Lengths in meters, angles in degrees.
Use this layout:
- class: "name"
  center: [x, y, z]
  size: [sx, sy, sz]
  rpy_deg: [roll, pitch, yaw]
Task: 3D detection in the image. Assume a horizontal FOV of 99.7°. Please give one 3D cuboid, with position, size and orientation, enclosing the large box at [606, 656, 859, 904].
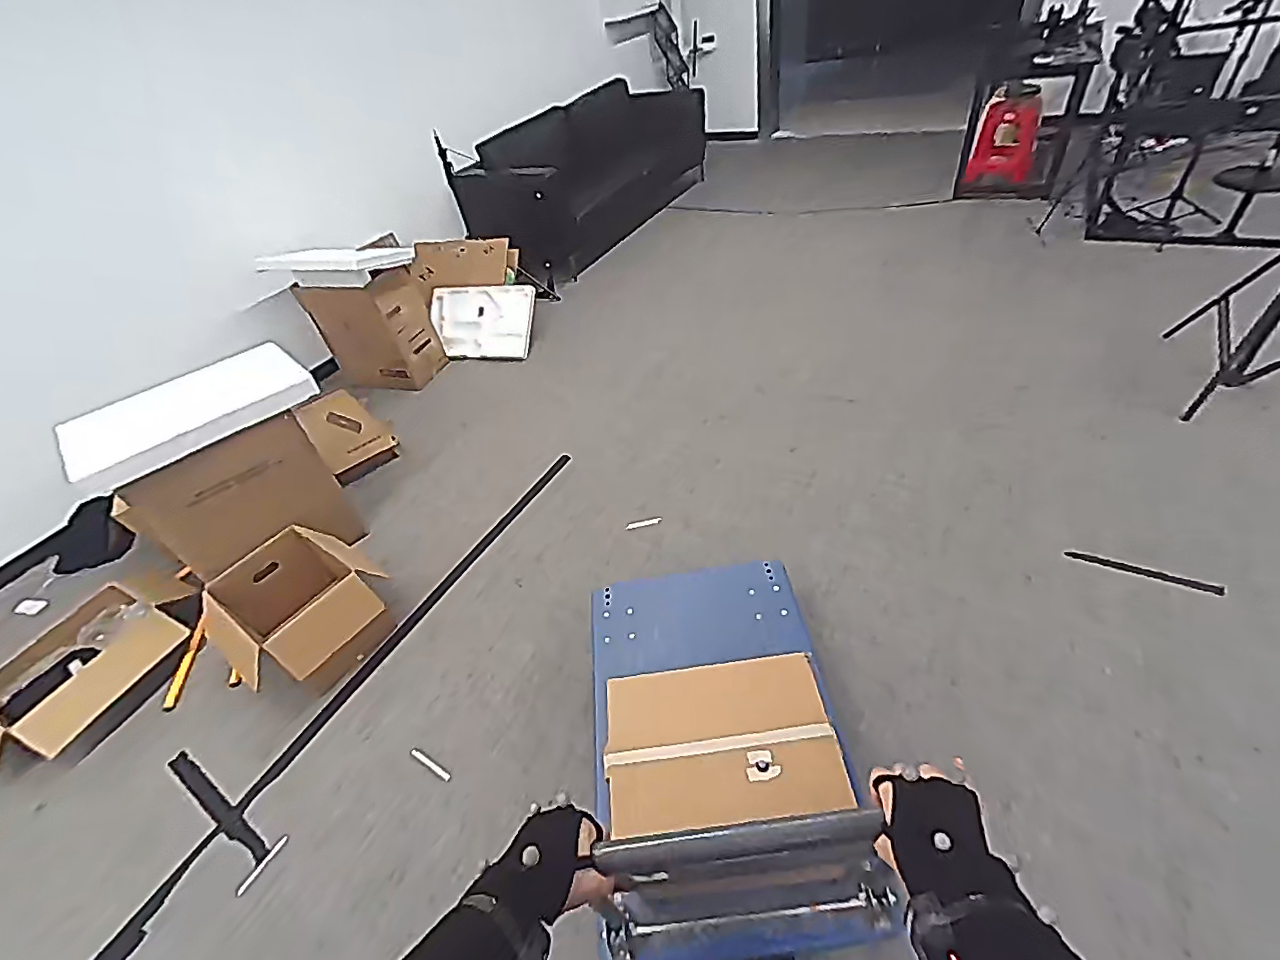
- class: "large box"
  center: [0.158, 0.591, 1.066]
  size: [0.408, 0.320, 0.320]
  rpy_deg: [-8, 43, 1]
